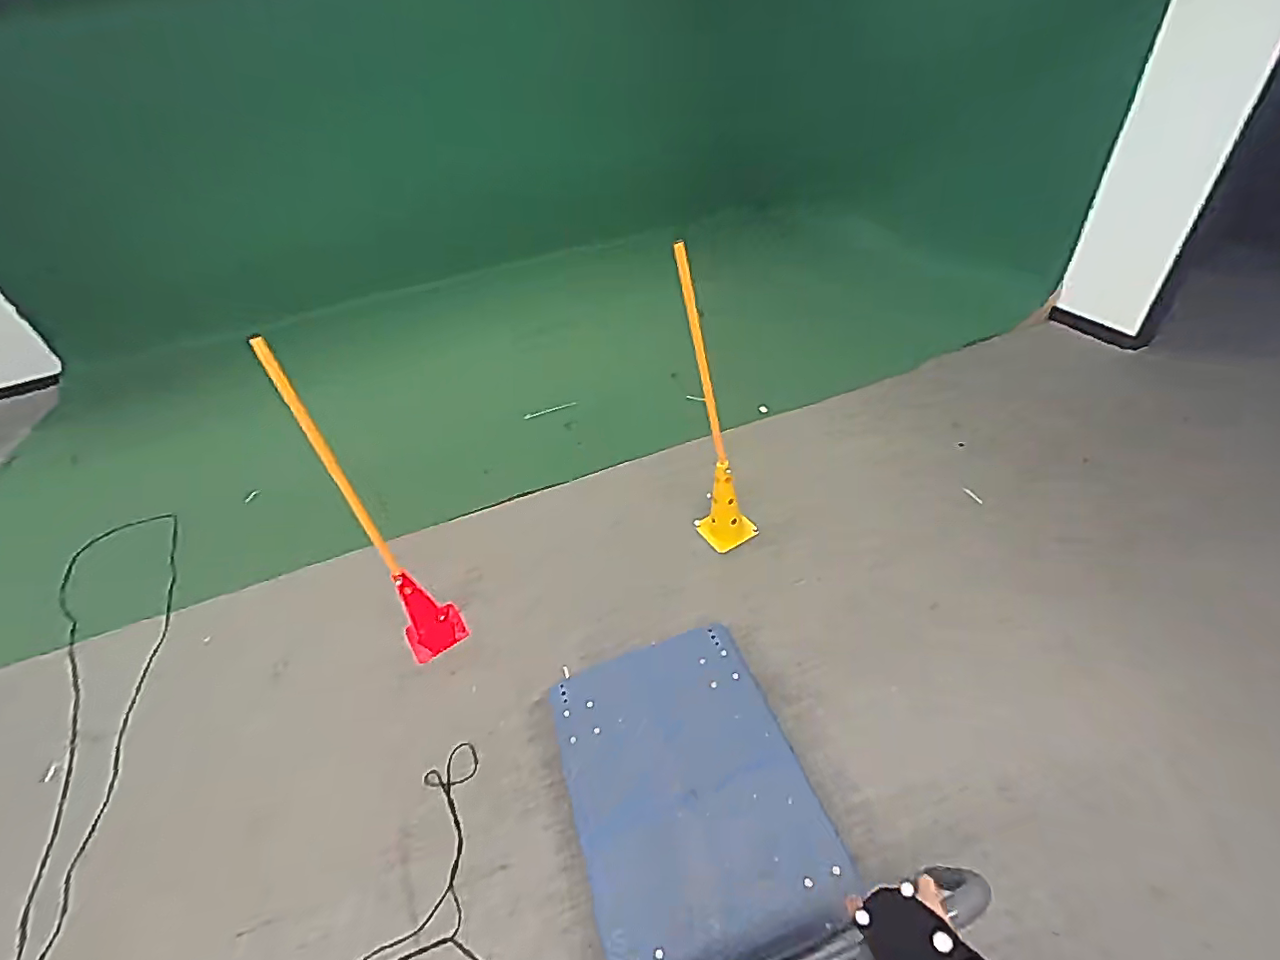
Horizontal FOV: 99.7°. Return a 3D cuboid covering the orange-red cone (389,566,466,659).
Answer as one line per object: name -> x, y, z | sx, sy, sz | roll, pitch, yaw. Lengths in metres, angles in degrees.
orange-red cone -> -0.785, 0.428, 1.896 | 0.199, 0.360, 0.198 | -30, 45, -20
